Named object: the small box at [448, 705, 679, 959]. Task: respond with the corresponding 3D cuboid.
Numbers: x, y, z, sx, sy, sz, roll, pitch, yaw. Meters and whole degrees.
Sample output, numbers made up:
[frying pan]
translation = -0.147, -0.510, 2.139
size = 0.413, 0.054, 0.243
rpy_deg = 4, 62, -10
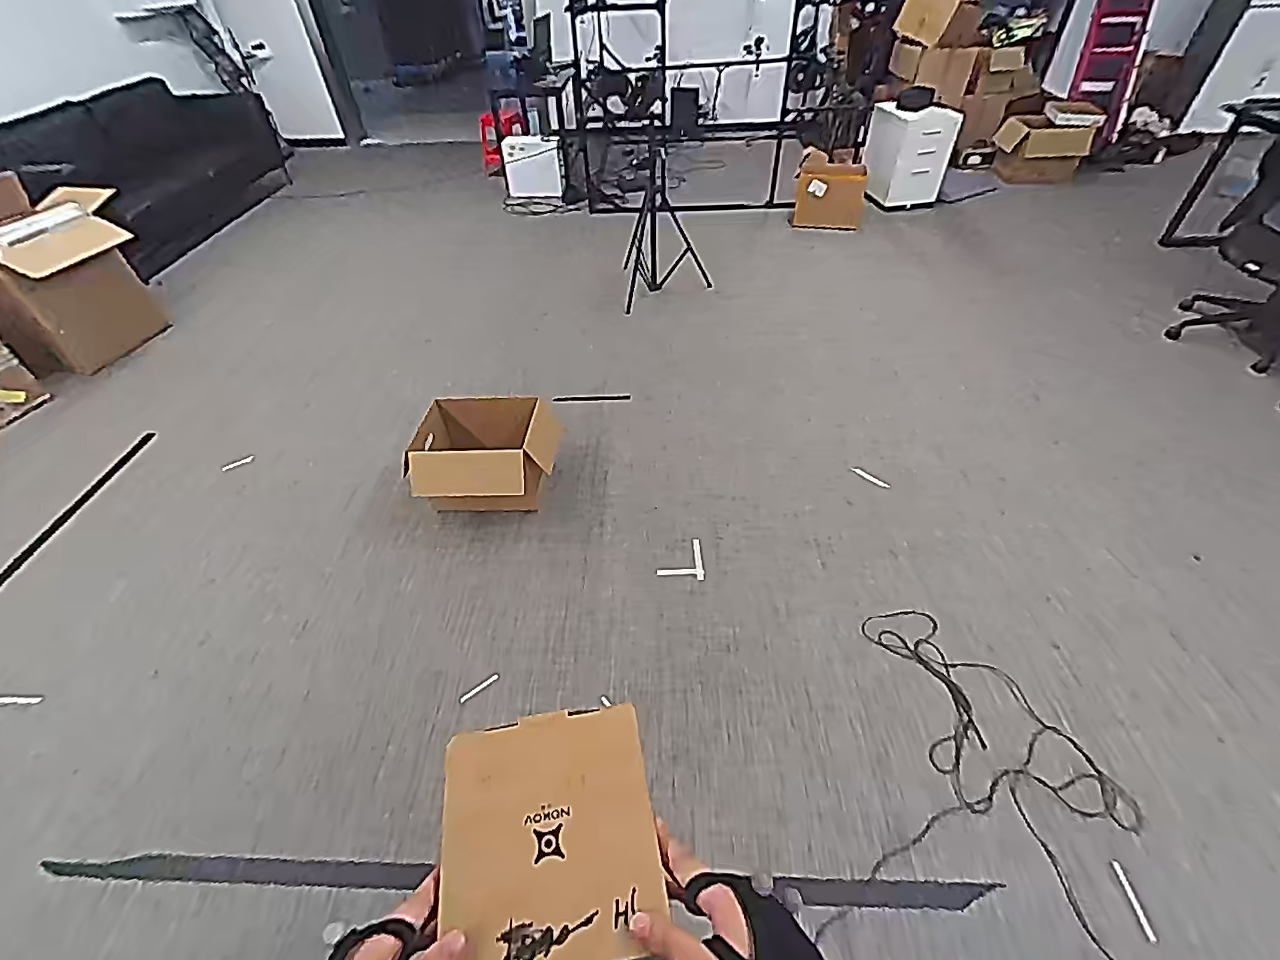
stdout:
[small box]
translation = -0.065, 0.334, 0.492
size = 0.168, 0.176, 0.179
rpy_deg = -8, 47, -5
